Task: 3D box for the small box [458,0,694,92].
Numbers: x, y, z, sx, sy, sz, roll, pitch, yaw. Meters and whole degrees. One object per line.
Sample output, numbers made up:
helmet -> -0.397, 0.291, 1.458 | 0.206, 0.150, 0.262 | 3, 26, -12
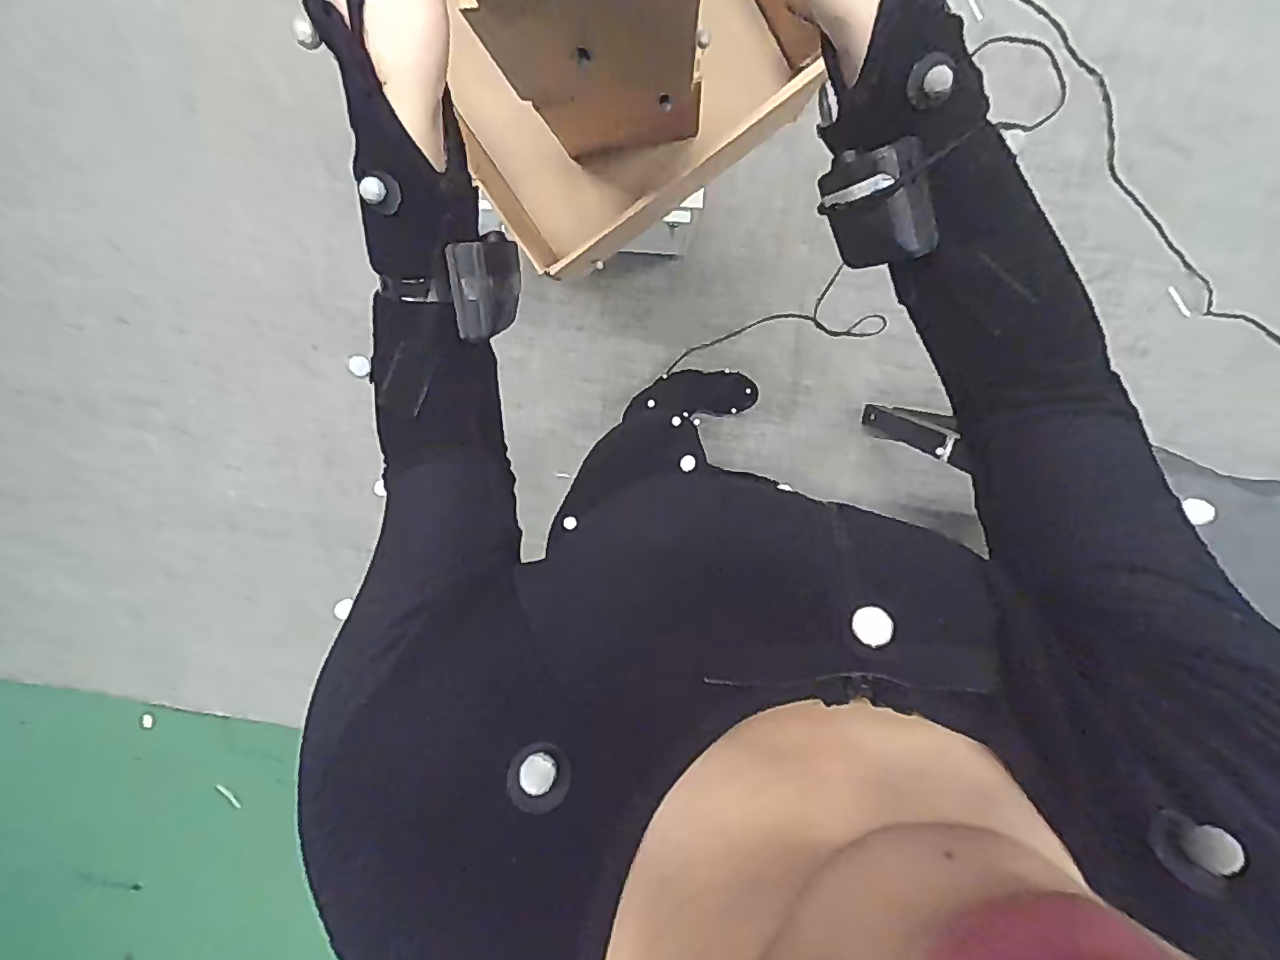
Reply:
small box -> -0.042, -0.447, 0.443 | 0.179, 0.176, 0.168 | 1, 105, 5
